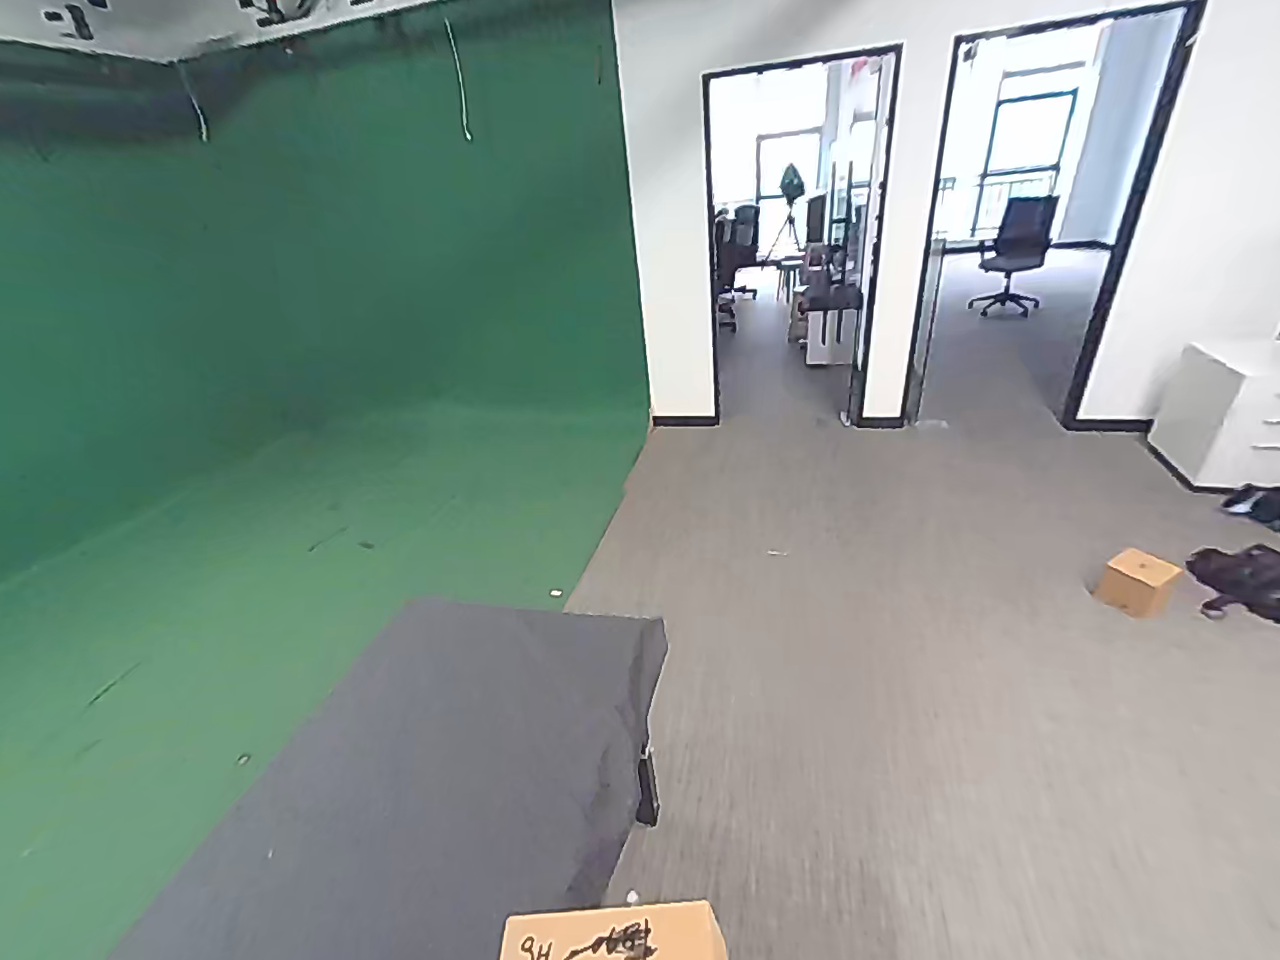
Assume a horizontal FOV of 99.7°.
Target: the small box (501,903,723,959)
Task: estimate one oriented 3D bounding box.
[{"bbox_3d":[-0.012,0.451,0.412,0.168,0.176,0.179,-7,41,4],"label":"small box"}]
